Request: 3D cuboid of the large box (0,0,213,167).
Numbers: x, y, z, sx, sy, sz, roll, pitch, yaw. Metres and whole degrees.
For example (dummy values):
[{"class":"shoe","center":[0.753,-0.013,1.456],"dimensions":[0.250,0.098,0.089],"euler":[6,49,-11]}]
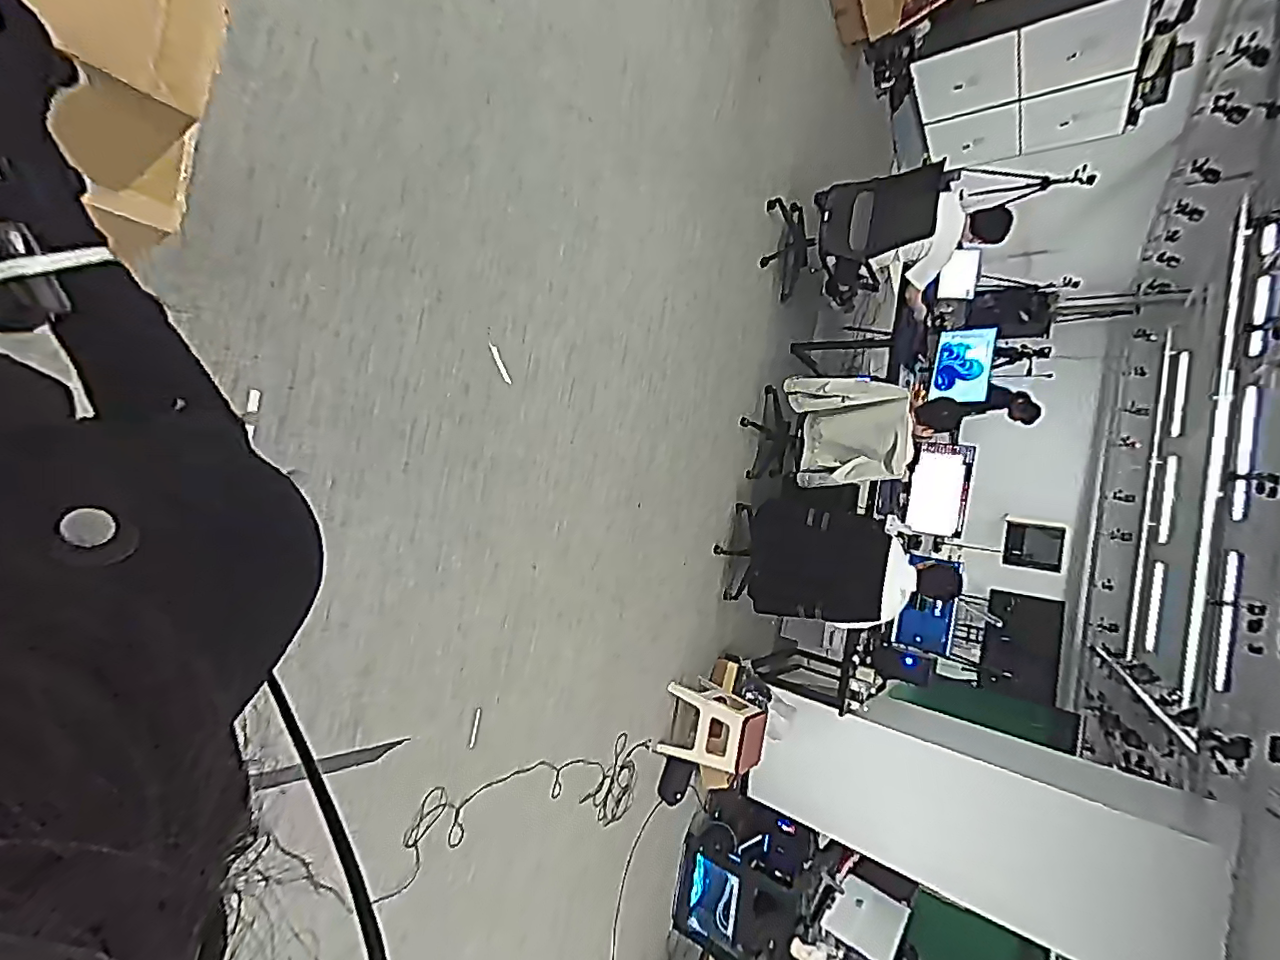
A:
[{"class":"large box","center":[-0.625,-0.538,0.429],"dimensions":[0.408,0.320,0.320],"euler":[12,88,-55]}]
